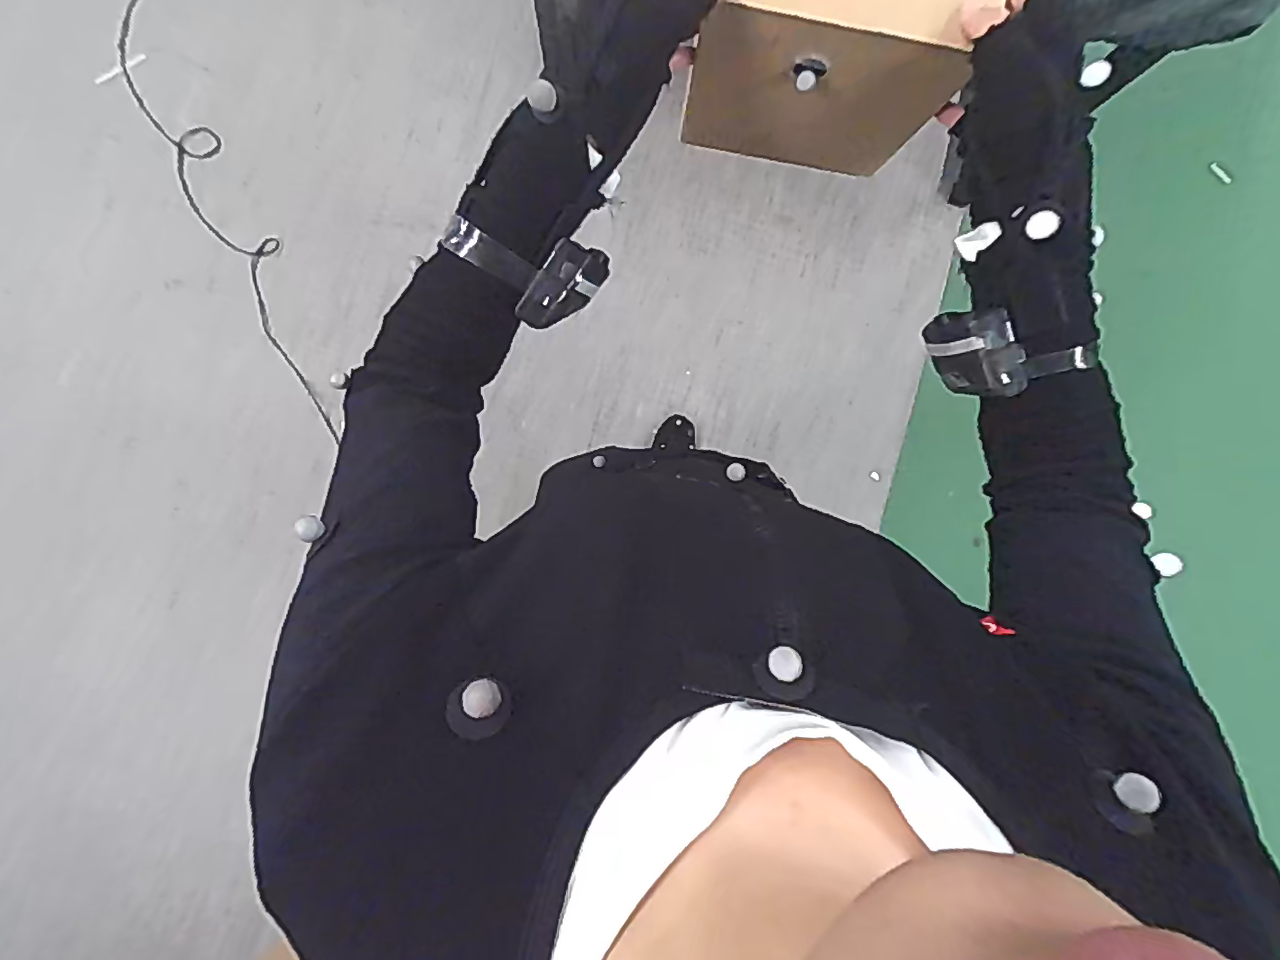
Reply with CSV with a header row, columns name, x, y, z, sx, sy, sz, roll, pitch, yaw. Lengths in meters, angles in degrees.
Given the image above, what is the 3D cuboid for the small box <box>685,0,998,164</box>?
name,x,y,z,sx,sy,sz,roll,pitch,yaw
small box,0.135,-0.361,0.391,0.179,0.176,0.168,10,96,-2
